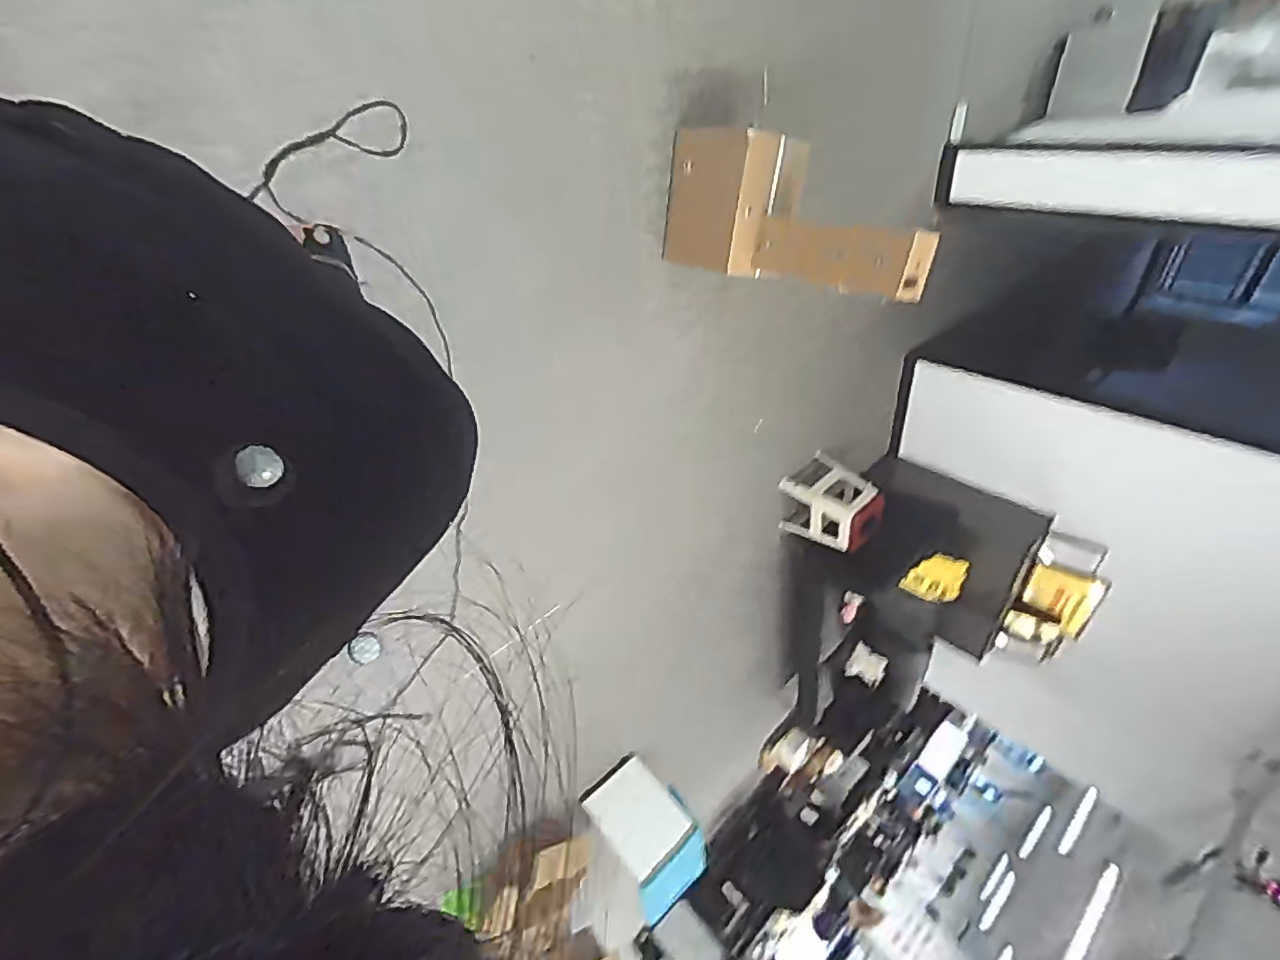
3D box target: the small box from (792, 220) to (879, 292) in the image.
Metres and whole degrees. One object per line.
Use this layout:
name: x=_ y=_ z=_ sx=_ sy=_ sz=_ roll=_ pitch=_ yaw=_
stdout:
small box: x=0.588 y=-0.682 z=1.647 sx=0.168 sy=0.176 sz=0.179 roll=-16 pitch=124 yaw=-40

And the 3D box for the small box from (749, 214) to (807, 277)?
small box: x=0.481 y=-0.755 z=1.744 sx=0.179 sy=0.176 sz=0.168 roll=-17 pitch=126 yaw=-40
